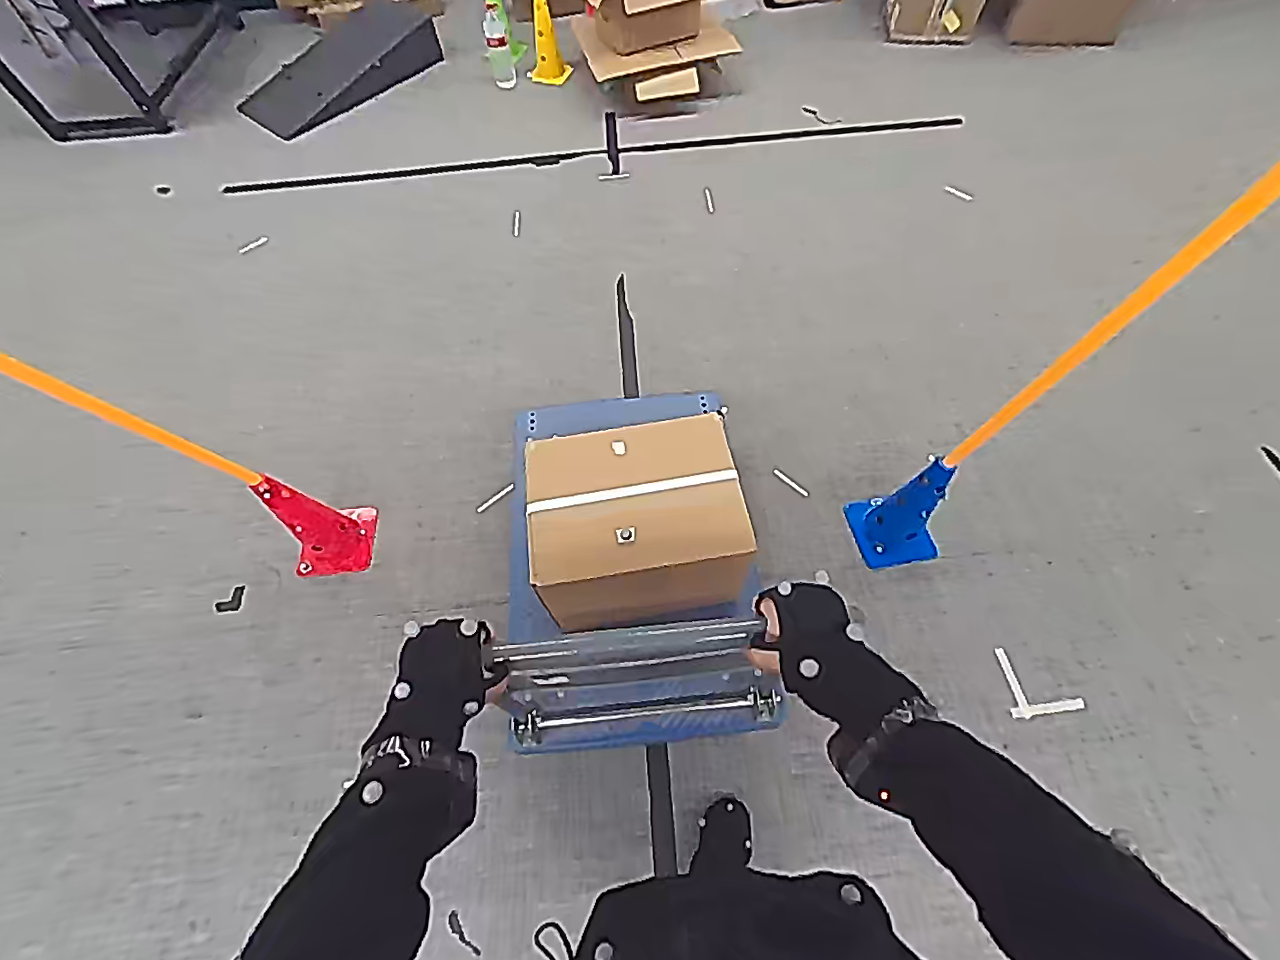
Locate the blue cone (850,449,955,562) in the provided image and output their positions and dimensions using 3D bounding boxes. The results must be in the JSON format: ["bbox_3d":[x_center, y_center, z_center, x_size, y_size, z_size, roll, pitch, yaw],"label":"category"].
[{"bbox_3d":[0.686,0.049,1.344,0.193,0.380,0.192,-8,60,-2],"label":"blue cone"}]
